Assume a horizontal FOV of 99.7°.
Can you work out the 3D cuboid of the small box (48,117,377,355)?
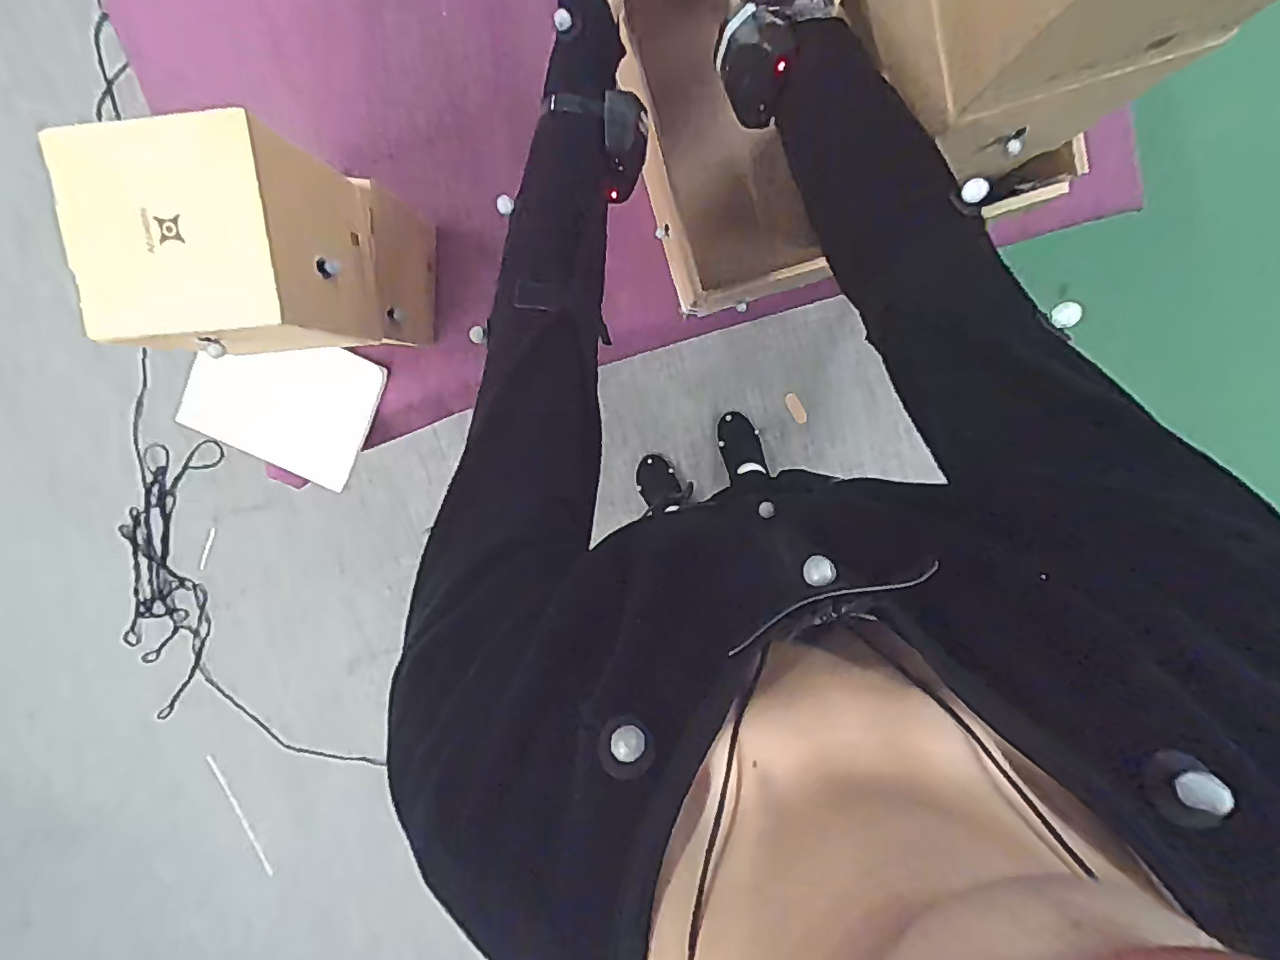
[{"bbox_3d":[-0.377,-0.212,0.517,0.179,0.176,0.168,-4,99,4],"label":"small box"}]

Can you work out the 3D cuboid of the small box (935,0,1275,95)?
[{"bbox_3d":[0.255,-0.321,0.251,0.168,0.176,0.179,-14,98,6],"label":"small box"}]

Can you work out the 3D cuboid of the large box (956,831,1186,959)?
[{"bbox_3d":[1.202,1.293,1.504,0.408,0.320,0.320,-32,97,6],"label":"large box"}]

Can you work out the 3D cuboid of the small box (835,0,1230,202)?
[{"bbox_3d":[0.270,-0.342,0.412,0.179,0.176,0.168,-14,98,8],"label":"small box"}]
